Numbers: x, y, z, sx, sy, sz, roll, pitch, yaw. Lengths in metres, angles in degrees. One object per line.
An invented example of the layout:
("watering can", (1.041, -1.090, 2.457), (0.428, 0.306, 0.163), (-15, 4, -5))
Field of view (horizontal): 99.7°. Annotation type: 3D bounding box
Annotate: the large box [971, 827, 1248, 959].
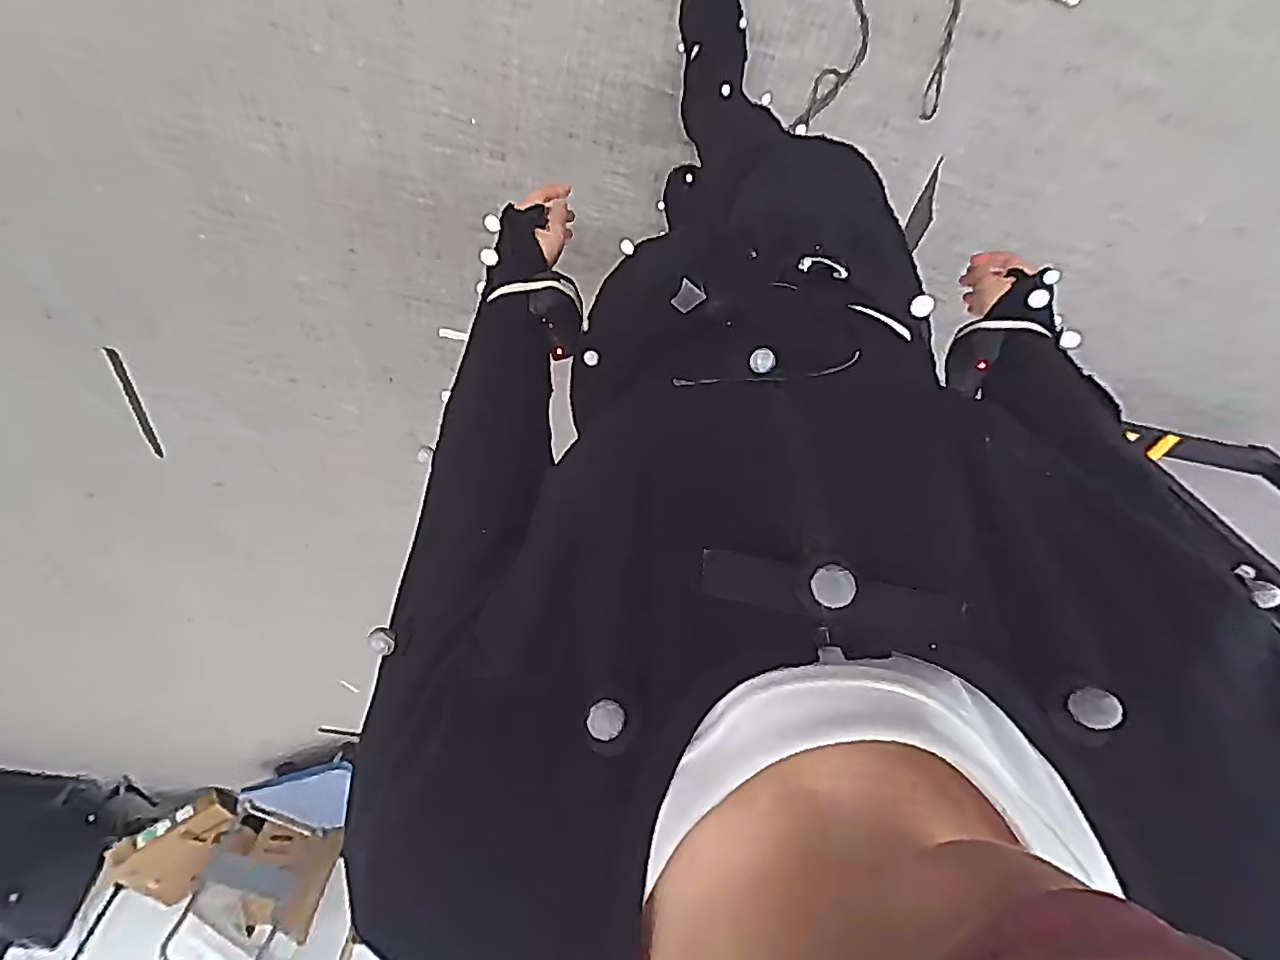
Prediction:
("large box", (1.172, 1.122, 1.380), (0.408, 0.320, 0.320), (10, 130, -7))
